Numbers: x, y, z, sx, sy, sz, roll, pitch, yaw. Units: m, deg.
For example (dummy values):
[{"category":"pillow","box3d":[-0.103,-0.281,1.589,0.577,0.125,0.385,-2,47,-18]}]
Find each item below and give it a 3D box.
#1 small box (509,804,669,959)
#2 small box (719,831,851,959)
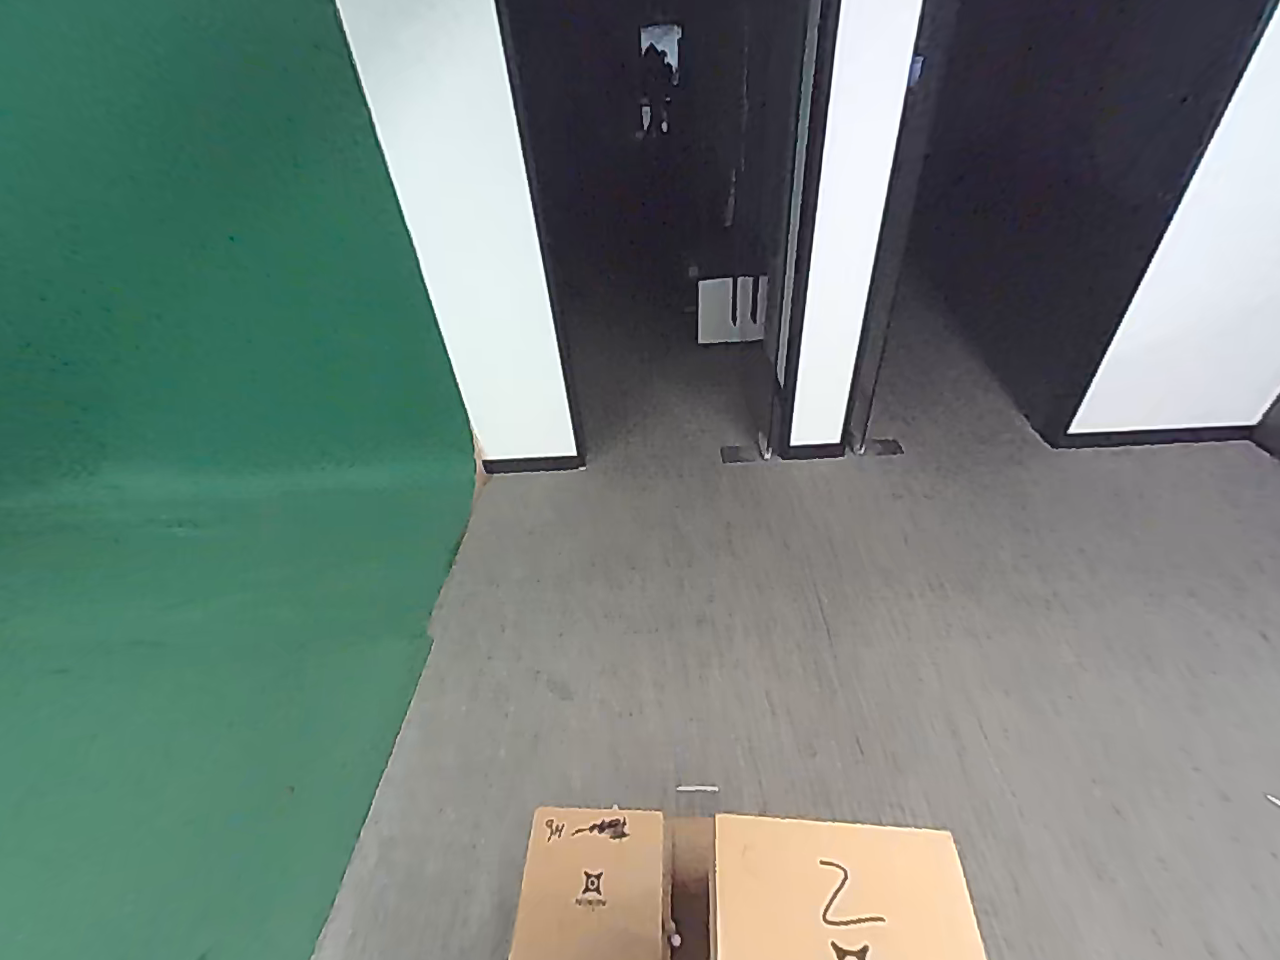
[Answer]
[{"category":"small box","box3d":[-0.050,0.531,0.672,0.168,0.176,0.179,-1,41,5]},{"category":"small box","box3d":[0.198,0.634,0.771,0.168,0.176,0.179,-1,38,7]}]
